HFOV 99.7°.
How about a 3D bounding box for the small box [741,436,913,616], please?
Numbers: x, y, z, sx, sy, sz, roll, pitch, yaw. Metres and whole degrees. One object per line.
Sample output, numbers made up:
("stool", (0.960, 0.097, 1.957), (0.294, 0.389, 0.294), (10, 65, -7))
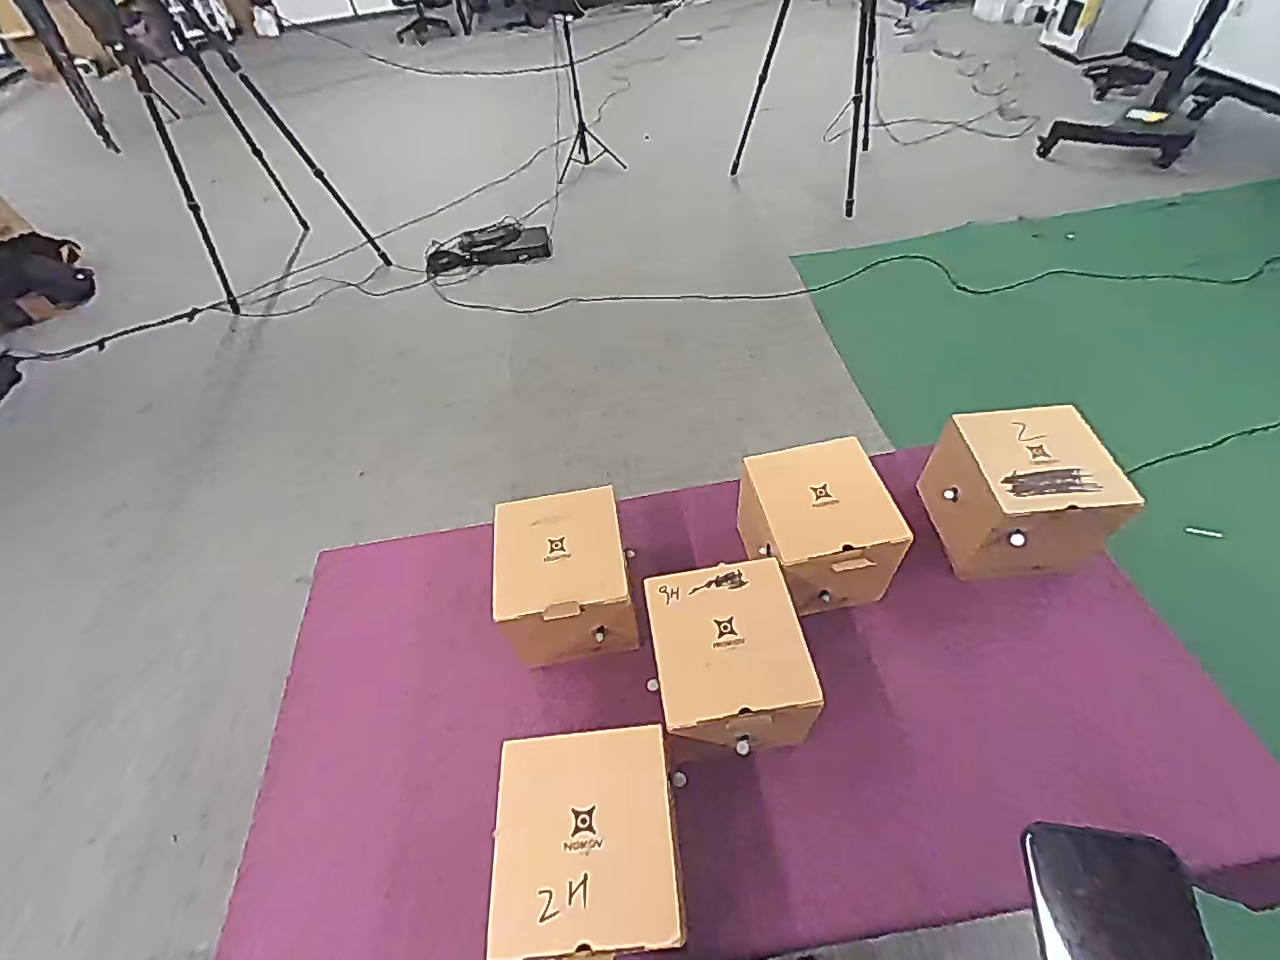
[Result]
("small box", (0.246, 0.068, 0.768), (0.168, 0.176, 0.179), (-12, 53, -2))

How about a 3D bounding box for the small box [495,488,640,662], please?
("small box", (-0.096, 0.140, 0.756), (0.168, 0.176, 0.179), (-9, 51, -1))

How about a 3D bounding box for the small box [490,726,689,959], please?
("small box", (-0.041, 0.376, 0.561), (0.168, 0.176, 0.179), (-7, 51, 3))
